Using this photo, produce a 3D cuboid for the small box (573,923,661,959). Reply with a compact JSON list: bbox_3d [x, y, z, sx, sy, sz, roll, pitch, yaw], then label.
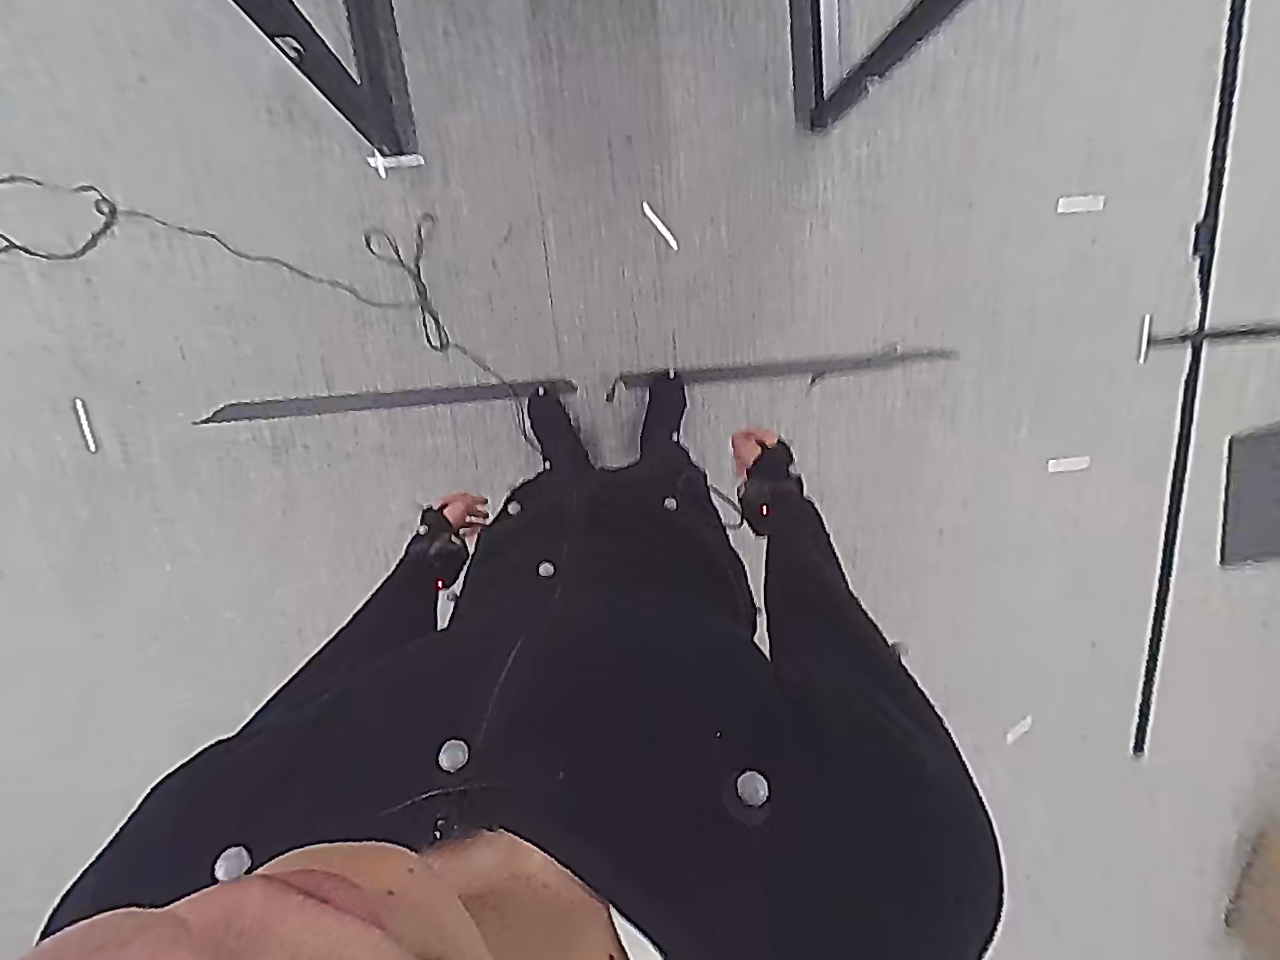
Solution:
[{"bbox_3d":[-0.032,0.975,1.009,0.168,0.176,0.179,-9,104,-5],"label":"small box"}]
